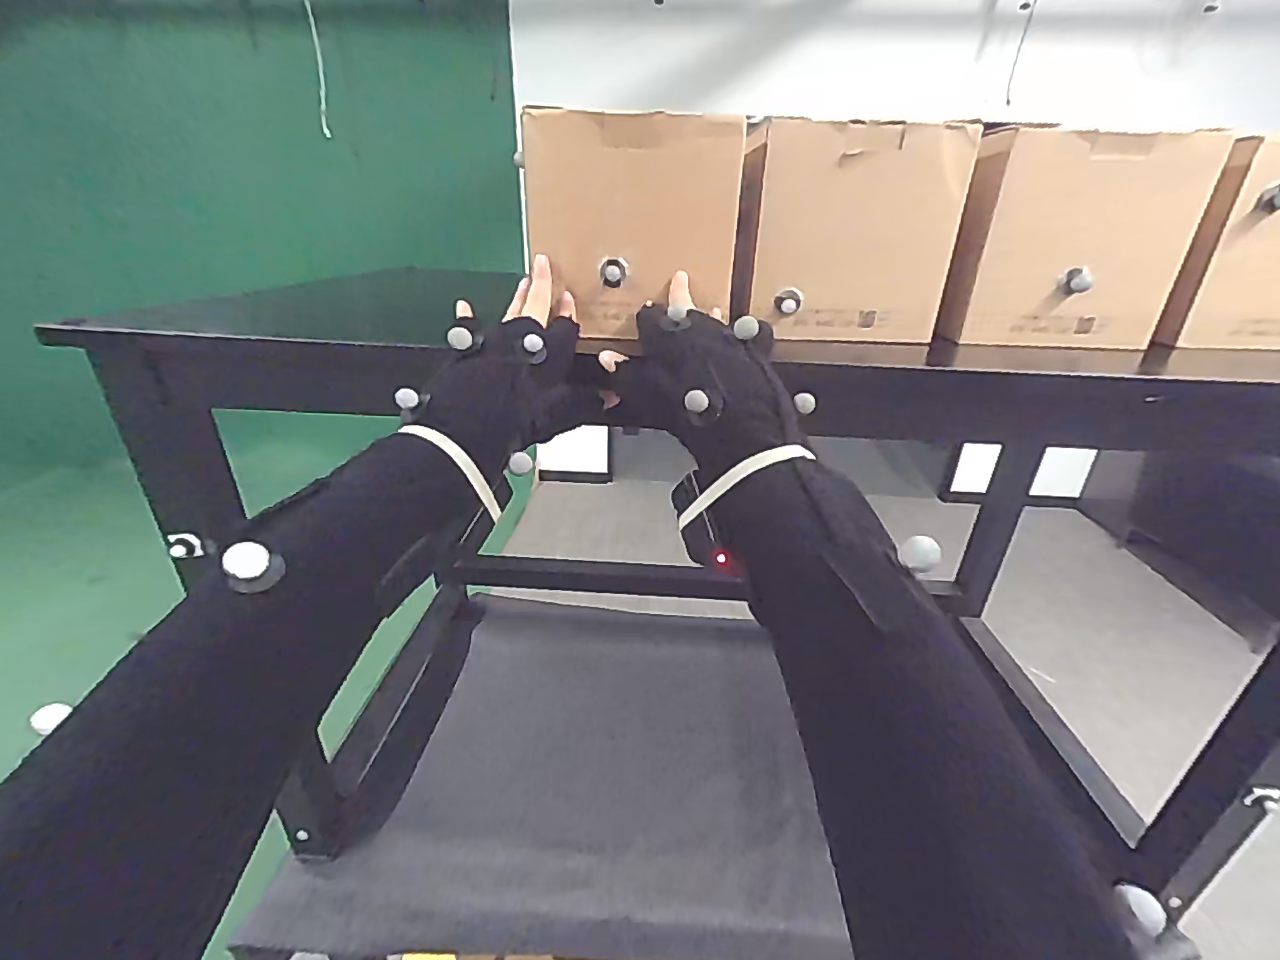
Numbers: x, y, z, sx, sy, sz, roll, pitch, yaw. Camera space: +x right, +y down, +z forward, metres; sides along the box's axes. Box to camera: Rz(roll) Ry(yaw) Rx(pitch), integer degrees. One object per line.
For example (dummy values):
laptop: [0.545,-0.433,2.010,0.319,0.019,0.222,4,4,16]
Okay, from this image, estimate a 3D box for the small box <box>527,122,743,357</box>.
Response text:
small box: [-0.005,-0.221,0.510,0.168,0.176,0.179,2,26,0]
